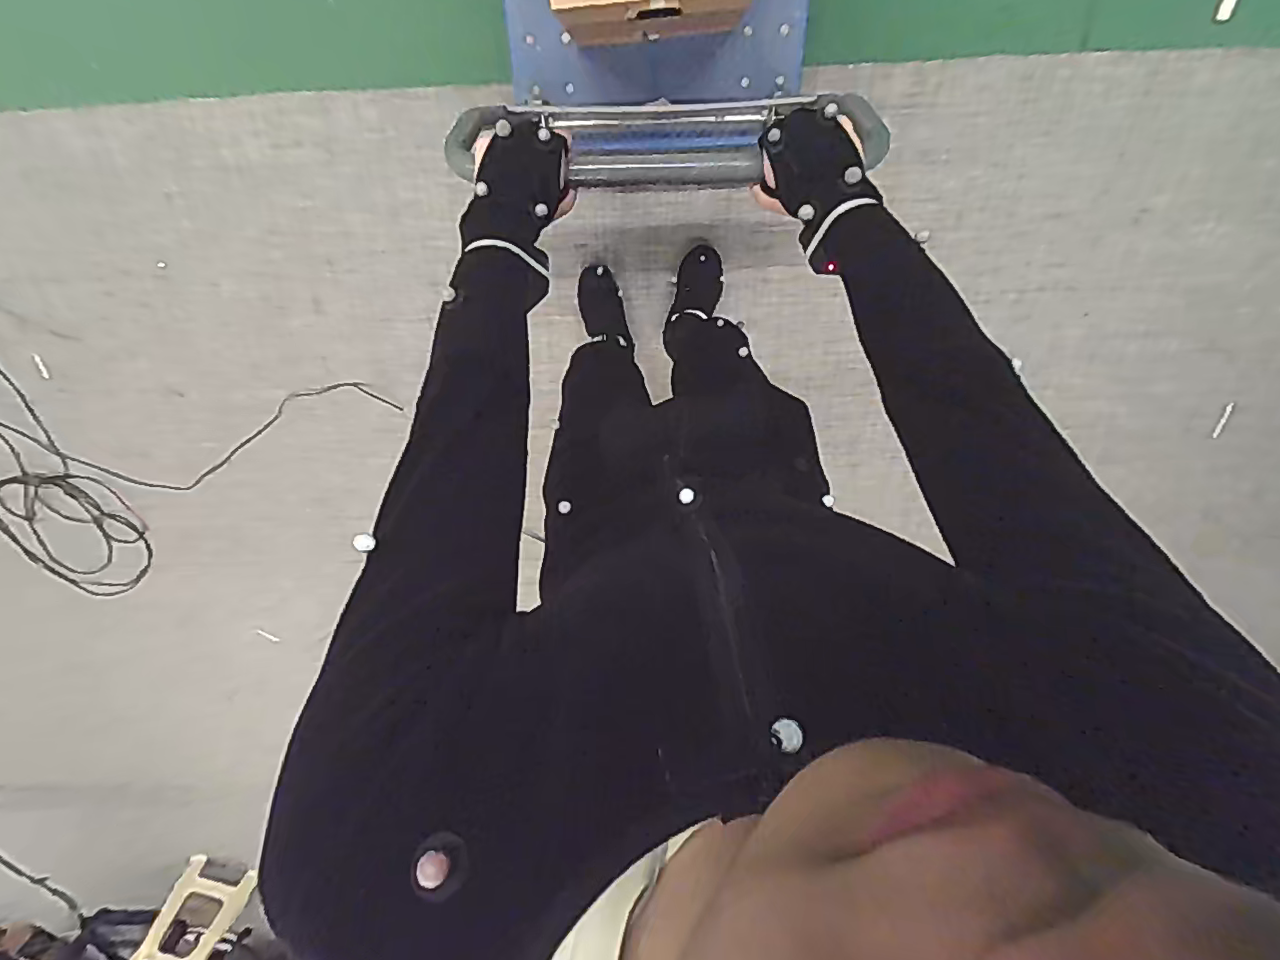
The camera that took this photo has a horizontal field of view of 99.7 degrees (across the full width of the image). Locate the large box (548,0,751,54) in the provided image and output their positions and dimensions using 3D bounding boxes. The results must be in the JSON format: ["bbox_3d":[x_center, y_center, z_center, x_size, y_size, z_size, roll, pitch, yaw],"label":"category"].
[{"bbox_3d":[0.009,-0.941,0.827,0.320,0.320,0.408,-3,121,4],"label":"large box"}]
